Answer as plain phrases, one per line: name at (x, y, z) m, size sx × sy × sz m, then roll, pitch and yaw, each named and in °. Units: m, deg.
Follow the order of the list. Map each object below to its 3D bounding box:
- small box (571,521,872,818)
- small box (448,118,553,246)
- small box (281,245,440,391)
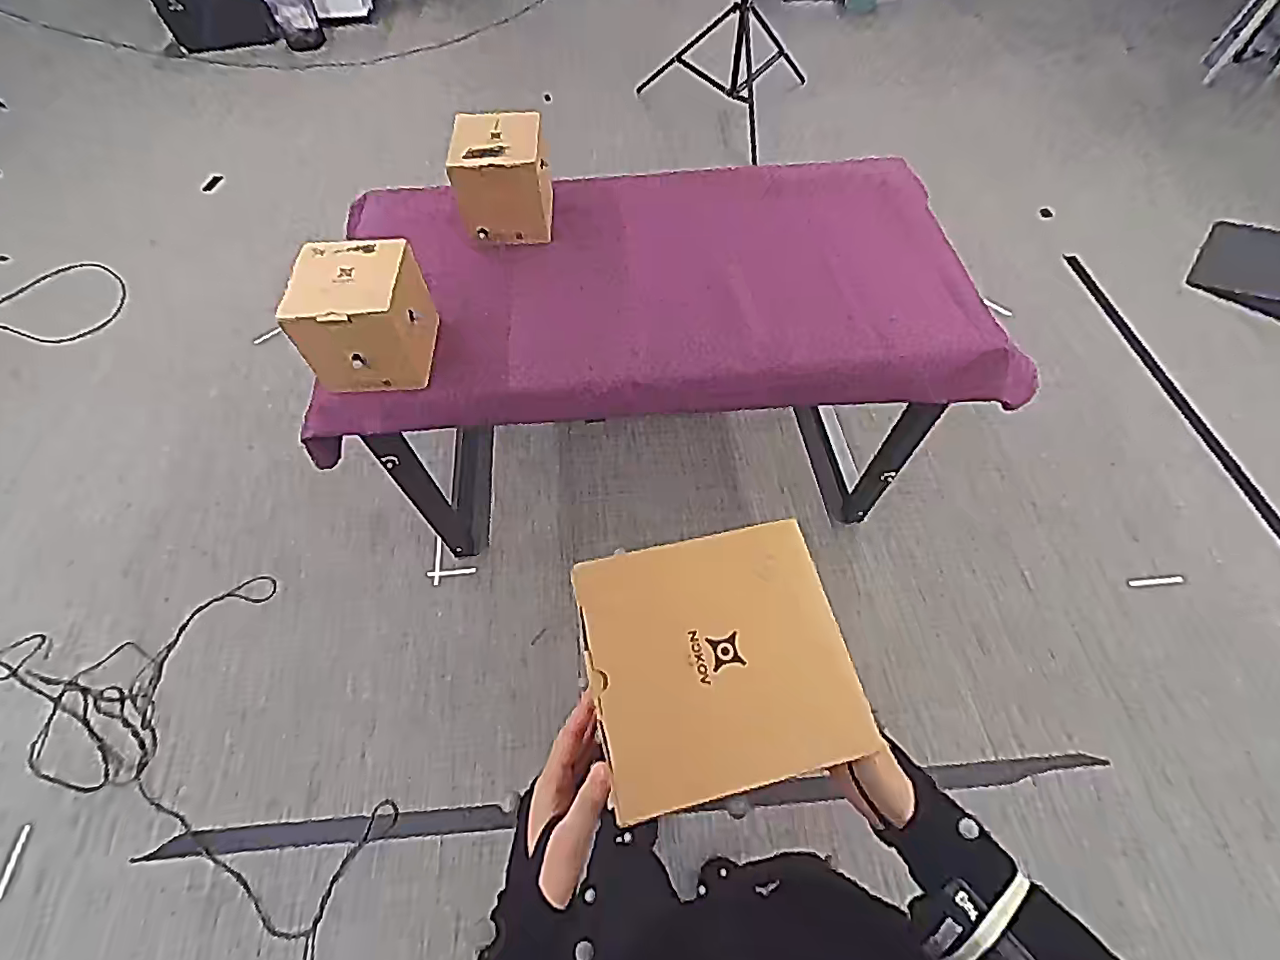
small box at (0.047, 0.151, 0.442) m, size 0.179 × 0.176 × 0.168 m, roll -12°, pitch 65°, yaw -7°
small box at (-0.270, -0.593, 1.091) m, size 0.168 × 0.176 × 0.179 m, roll -2°, pitch 60°, yaw -1°
small box at (-0.447, -0.260, 0.897) m, size 0.168 × 0.176 × 0.179 m, roll -3°, pitch 59°, yaw -2°
